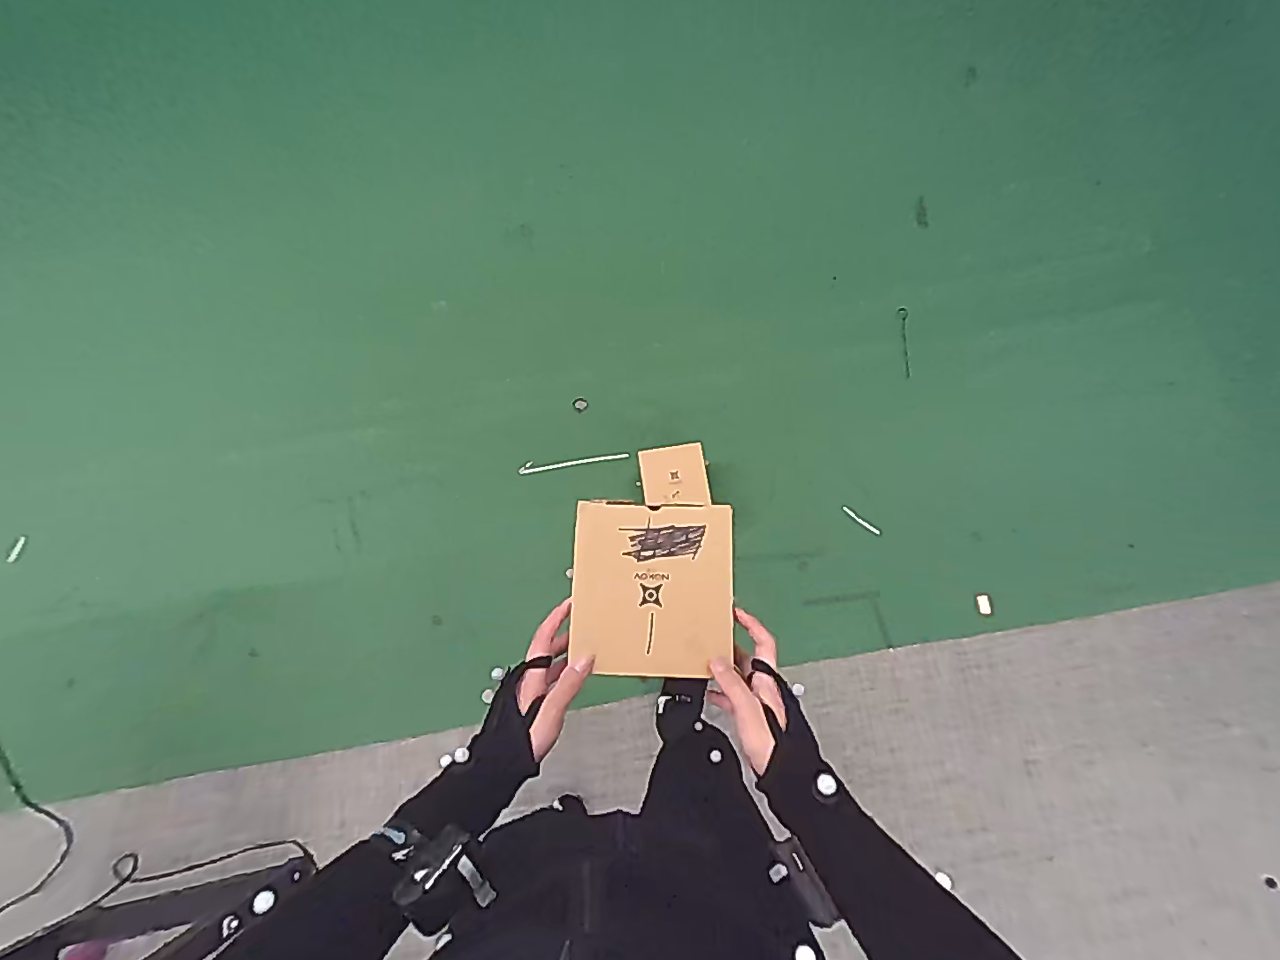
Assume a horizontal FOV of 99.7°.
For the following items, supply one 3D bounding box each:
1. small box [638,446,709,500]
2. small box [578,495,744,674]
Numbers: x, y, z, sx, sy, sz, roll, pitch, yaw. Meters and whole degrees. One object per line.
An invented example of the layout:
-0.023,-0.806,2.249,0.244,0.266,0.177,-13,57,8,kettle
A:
0.086,0.026,1.449,0.168,0.176,0.179,-8,75,-1,small box
0.024,0.123,0.626,0.168,0.176,0.179,2,76,1,small box
